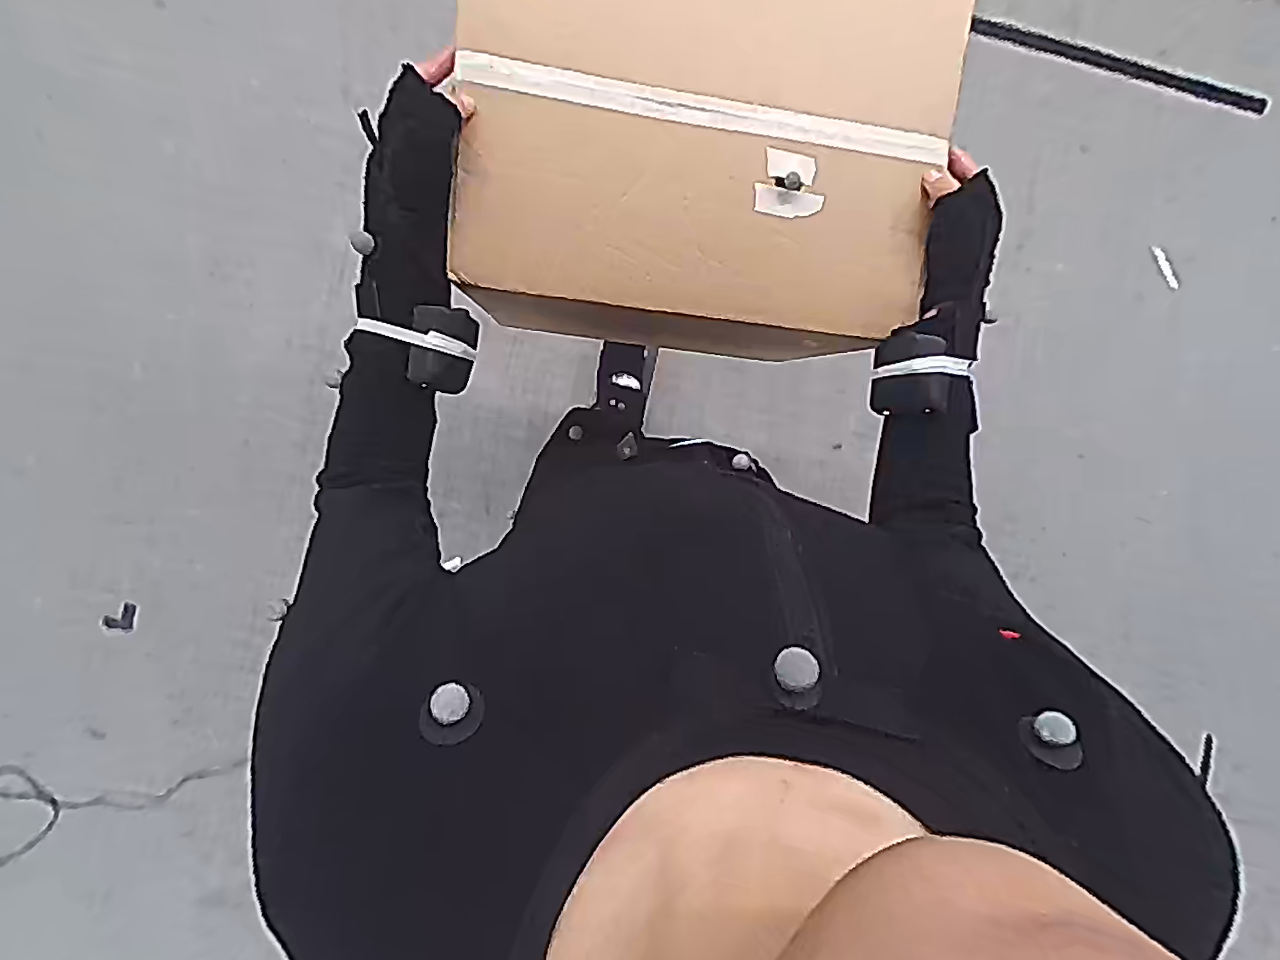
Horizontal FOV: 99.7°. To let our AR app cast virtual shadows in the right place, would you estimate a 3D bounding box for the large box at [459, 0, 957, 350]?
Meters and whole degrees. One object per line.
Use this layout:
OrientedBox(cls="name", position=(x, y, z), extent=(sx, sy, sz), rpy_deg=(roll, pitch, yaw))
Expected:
OrientedBox(cls="large box", position=(0.039, -0.328, 0.591), extent=(0.408, 0.320, 0.320), rpy_deg=(5, 100, -9))
